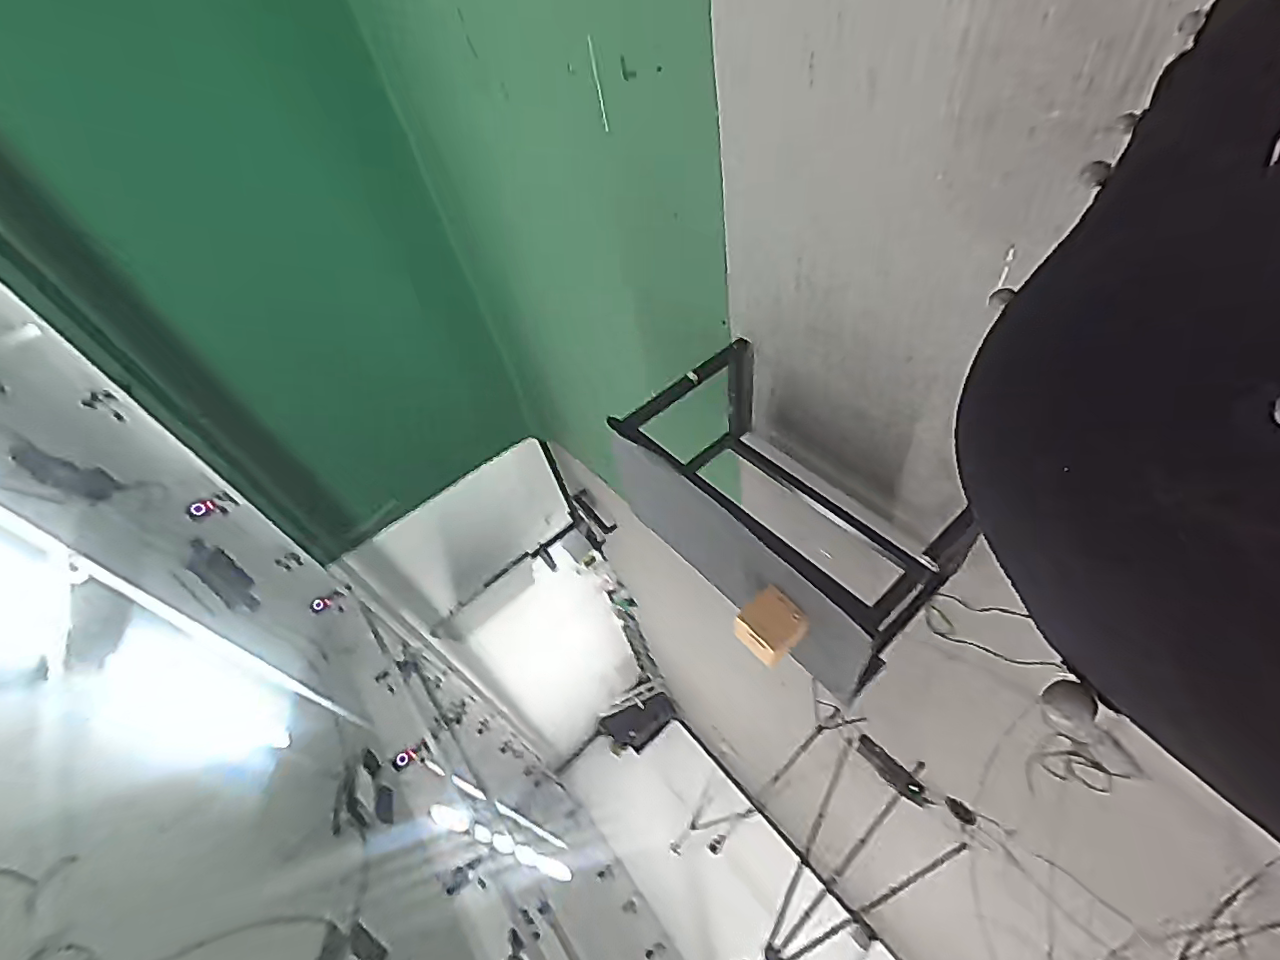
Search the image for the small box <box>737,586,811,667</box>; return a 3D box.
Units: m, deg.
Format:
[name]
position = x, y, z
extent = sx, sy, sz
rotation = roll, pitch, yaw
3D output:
[small box]
position = 0.444, 0.483, 1.797
extent = 0.168, 0.176, 0.179
rotation = 42, 159, 30
